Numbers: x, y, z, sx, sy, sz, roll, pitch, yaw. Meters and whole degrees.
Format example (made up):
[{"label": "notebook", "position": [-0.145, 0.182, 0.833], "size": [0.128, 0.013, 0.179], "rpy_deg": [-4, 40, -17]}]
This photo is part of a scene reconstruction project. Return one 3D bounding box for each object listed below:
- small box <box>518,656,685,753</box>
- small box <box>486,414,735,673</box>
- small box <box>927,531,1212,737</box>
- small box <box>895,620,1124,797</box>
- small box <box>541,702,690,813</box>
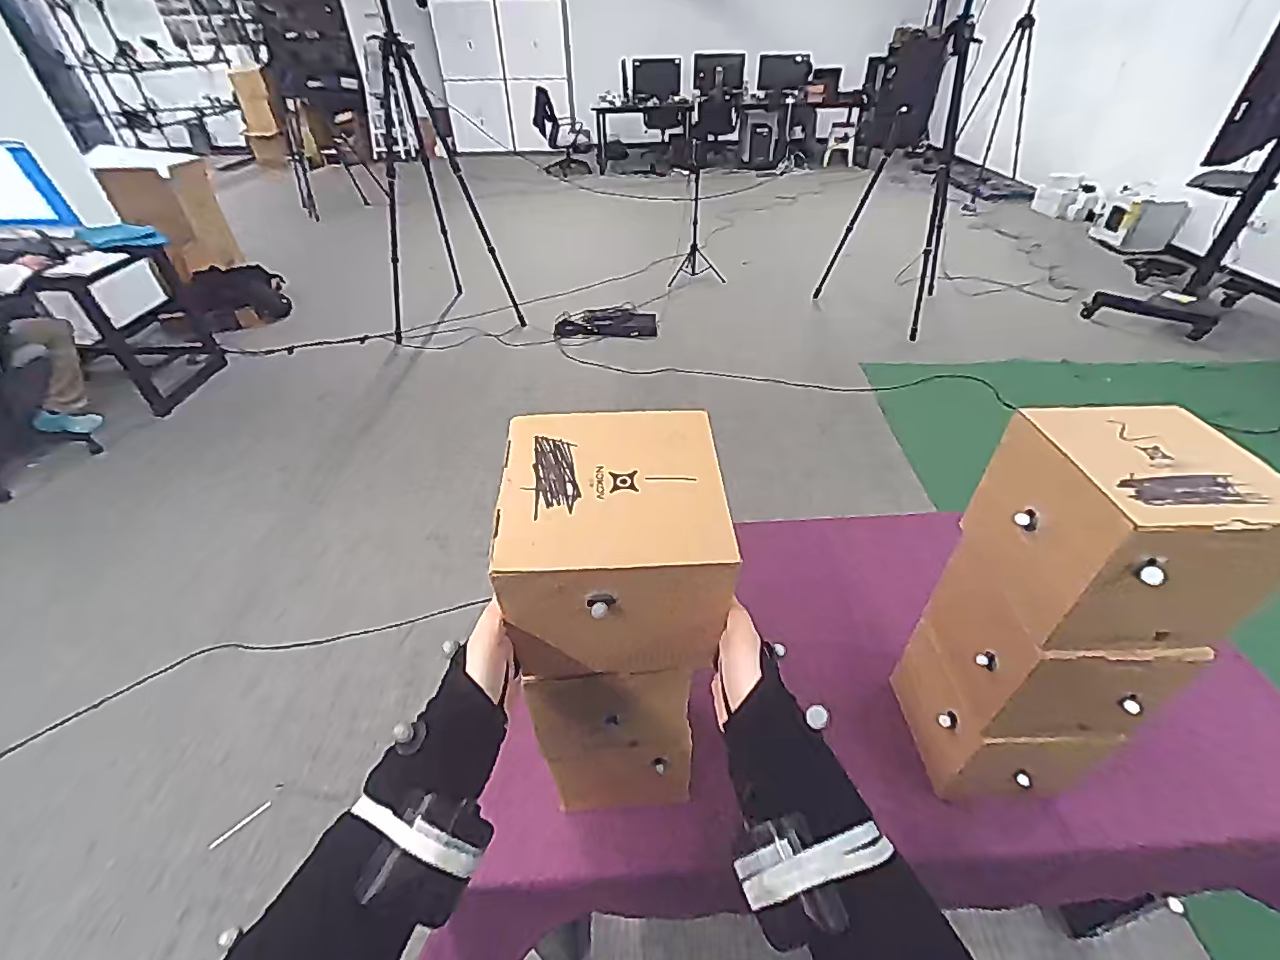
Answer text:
[{"label": "small box", "position": [-0.039, 0.199, 0.632], "size": [0.168, 0.176, 0.179], "rpy_deg": [-3, 39, -3]}, {"label": "small box", "position": [-0.023, 0.059, 0.482], "size": [0.179, 0.176, 0.168], "rpy_deg": [-2, 47, -3]}, {"label": "small box", "position": [0.468, 0.179, 0.629], "size": [0.168, 0.176, 0.179], "rpy_deg": [-1, 39, 2]}, {"label": "small box", "position": [0.473, 0.308, 0.728], "size": [0.168, 0.176, 0.179], "rpy_deg": [-2, 39, 0]}, {"label": "small box", "position": [-0.030, 0.329, 0.732], "size": [0.179, 0.176, 0.168], "rpy_deg": [-3, 39, -2]}]
